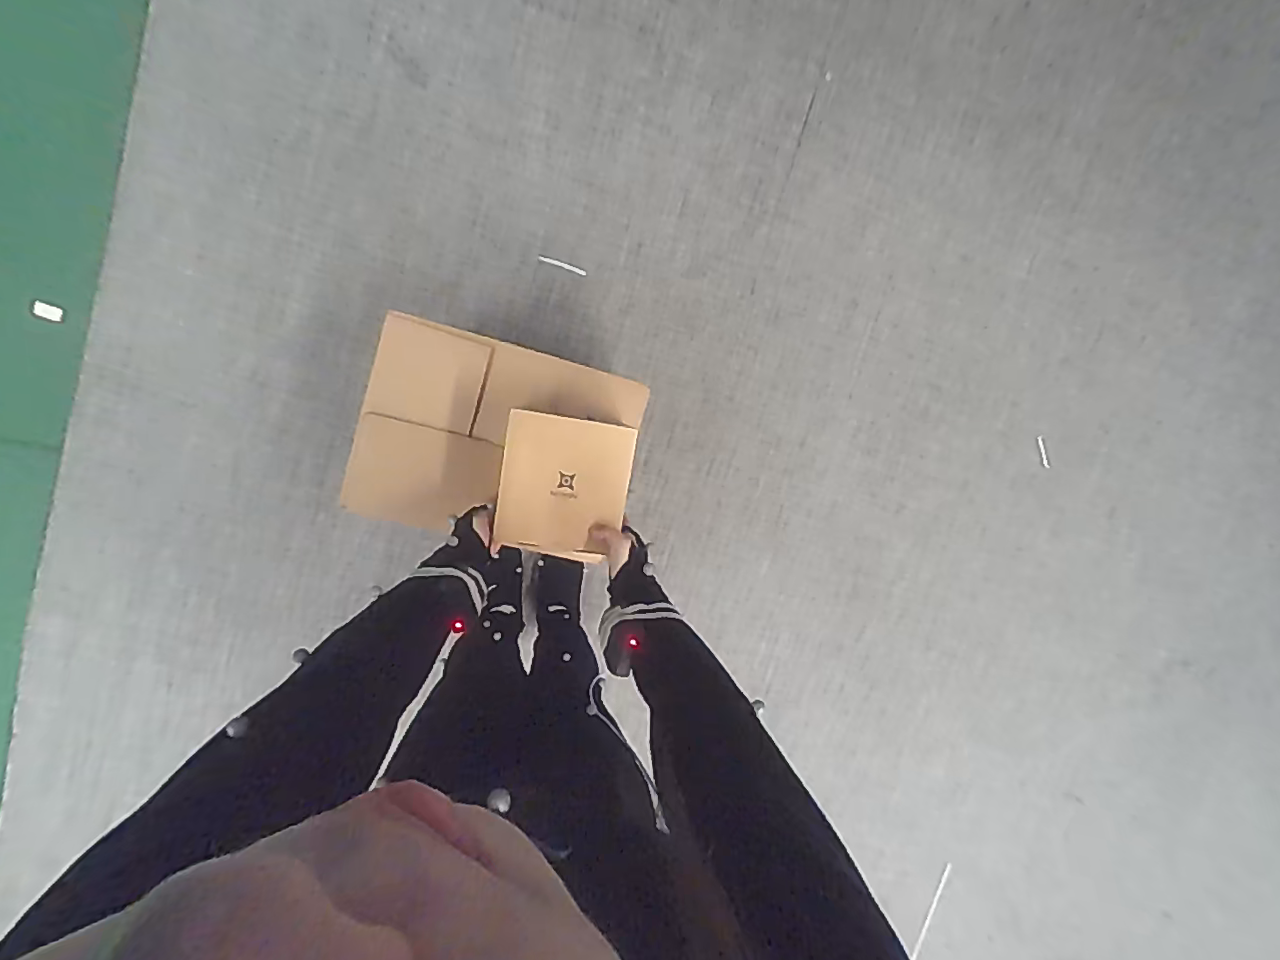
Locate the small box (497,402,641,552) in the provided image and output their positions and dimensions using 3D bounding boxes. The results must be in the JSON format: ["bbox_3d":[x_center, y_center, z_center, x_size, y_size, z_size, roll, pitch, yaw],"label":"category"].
[{"bbox_3d":[-0.104,-0.013,0.775,0.168,0.176,0.179,8,100,-10],"label":"small box"}]
